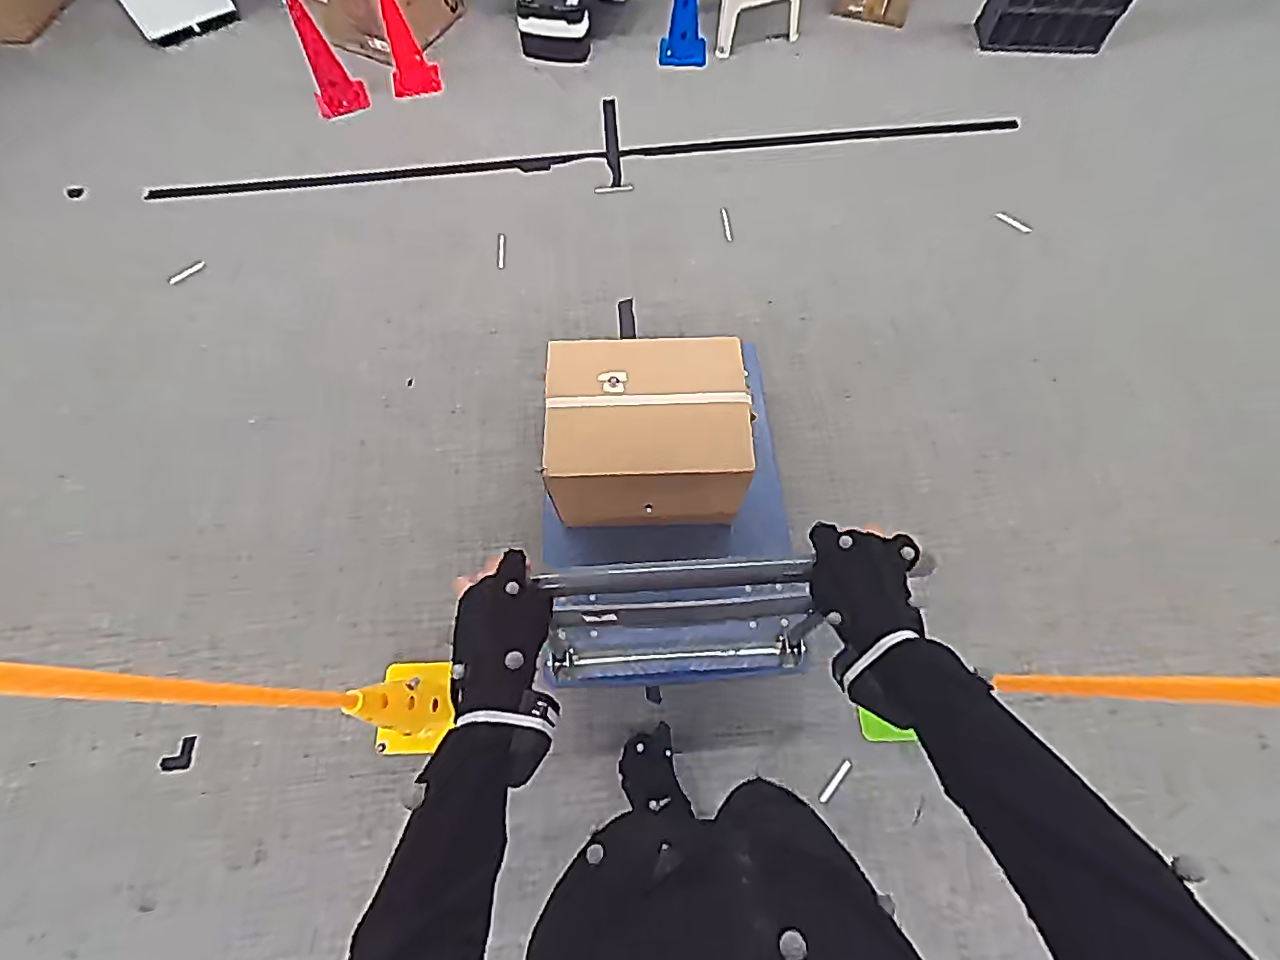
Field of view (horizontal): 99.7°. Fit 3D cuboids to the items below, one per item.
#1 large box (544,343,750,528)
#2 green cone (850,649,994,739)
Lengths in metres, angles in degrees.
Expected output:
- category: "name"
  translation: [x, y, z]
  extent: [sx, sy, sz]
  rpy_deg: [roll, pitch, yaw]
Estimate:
- category: "large box"
  translation: [0.013, -0.085, 1.227]
  extent: [0.408, 0.320, 0.320]
  rpy_deg: [-2, 66, 1]
- category: "green cone"
  translation: [0.615, 0.440, 1.140]
  extent: [0.202, 0.368, 0.200]
  rpy_deg: [-1, 66, -1]
